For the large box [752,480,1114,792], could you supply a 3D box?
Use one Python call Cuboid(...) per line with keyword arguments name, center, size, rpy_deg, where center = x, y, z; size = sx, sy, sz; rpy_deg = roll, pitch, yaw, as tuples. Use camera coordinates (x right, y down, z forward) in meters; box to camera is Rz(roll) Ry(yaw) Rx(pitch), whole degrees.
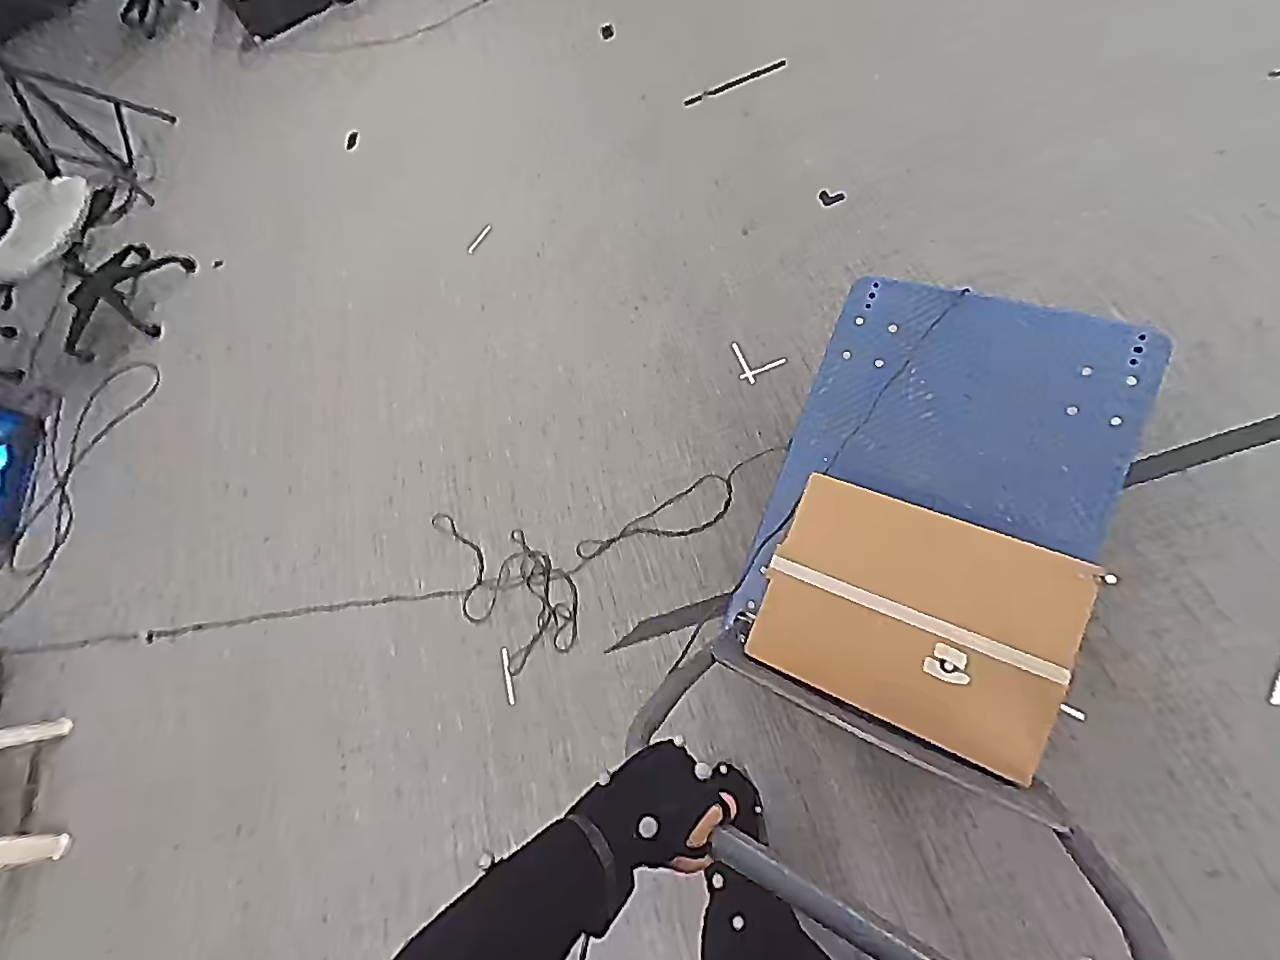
Cuboid(name="large box", center=(0.443, 0.227, 0.912), size=(0.408, 0.320, 0.320), rpy_deg=(21, 88, 21))
